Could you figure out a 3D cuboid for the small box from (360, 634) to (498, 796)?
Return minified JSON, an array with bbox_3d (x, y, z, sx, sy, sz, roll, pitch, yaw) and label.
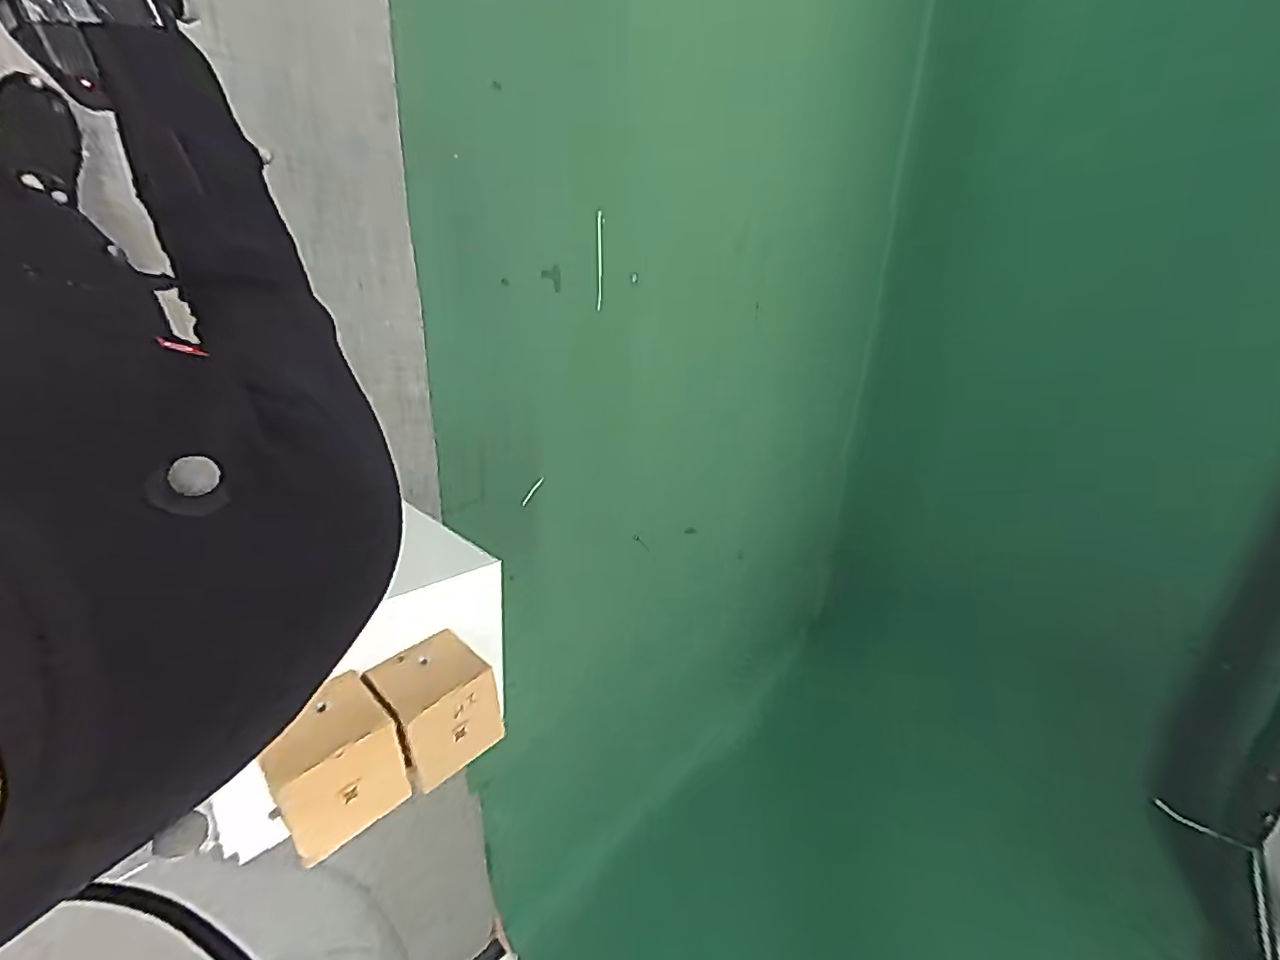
[{"bbox_3d":[-0.386,0.420,0.995,0.168,0.176,0.179,-24,123,-42],"label":"small box"}]
